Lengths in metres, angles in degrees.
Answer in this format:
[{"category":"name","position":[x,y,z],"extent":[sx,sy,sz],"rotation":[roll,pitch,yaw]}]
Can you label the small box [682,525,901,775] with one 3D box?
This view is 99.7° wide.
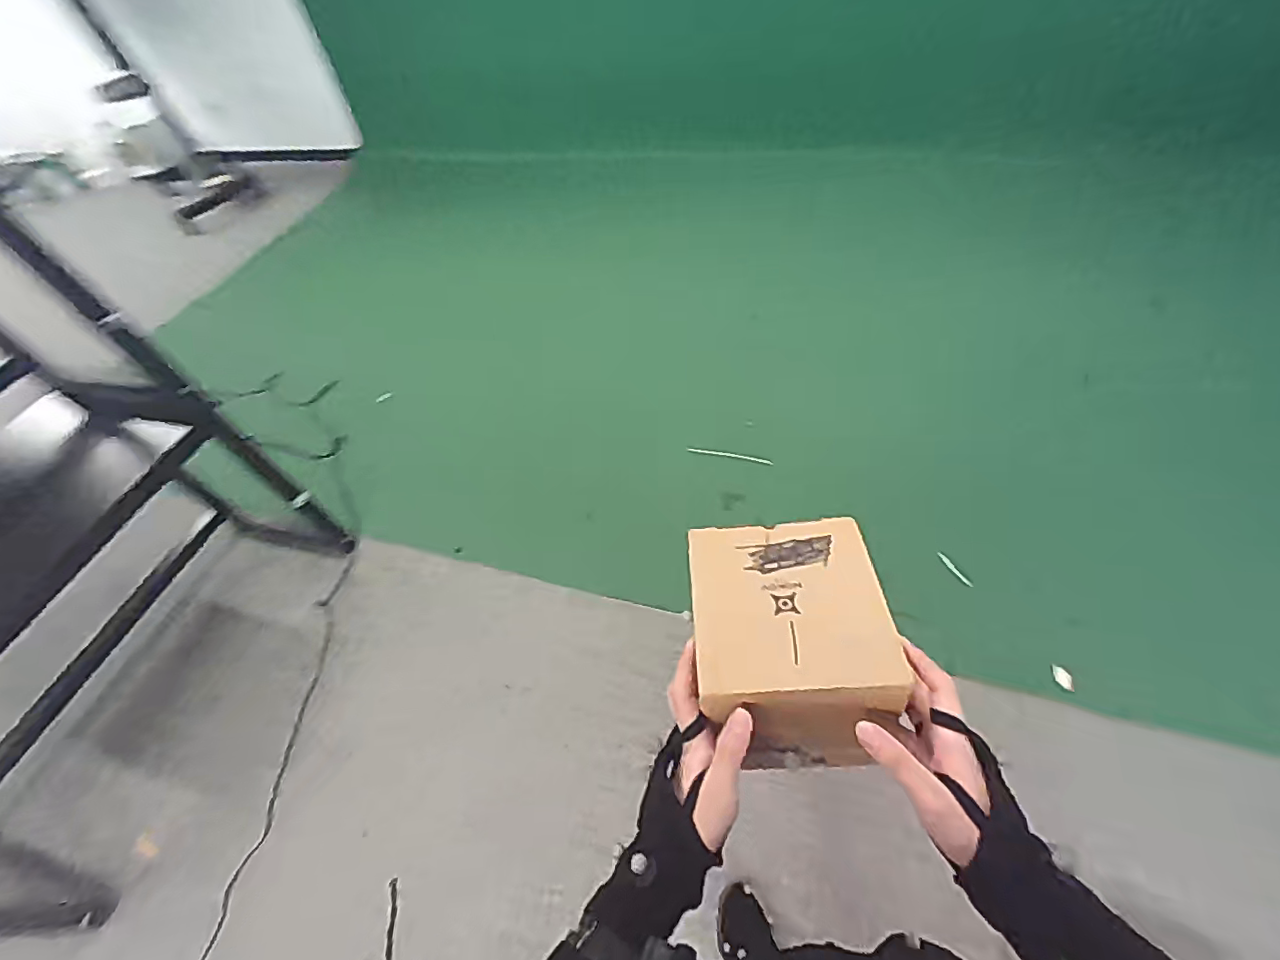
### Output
[{"category":"small box","position":[0.131,0.167,0.533],"extent":[0.168,0.176,0.179],"rotation":[-6,44,6]}]
